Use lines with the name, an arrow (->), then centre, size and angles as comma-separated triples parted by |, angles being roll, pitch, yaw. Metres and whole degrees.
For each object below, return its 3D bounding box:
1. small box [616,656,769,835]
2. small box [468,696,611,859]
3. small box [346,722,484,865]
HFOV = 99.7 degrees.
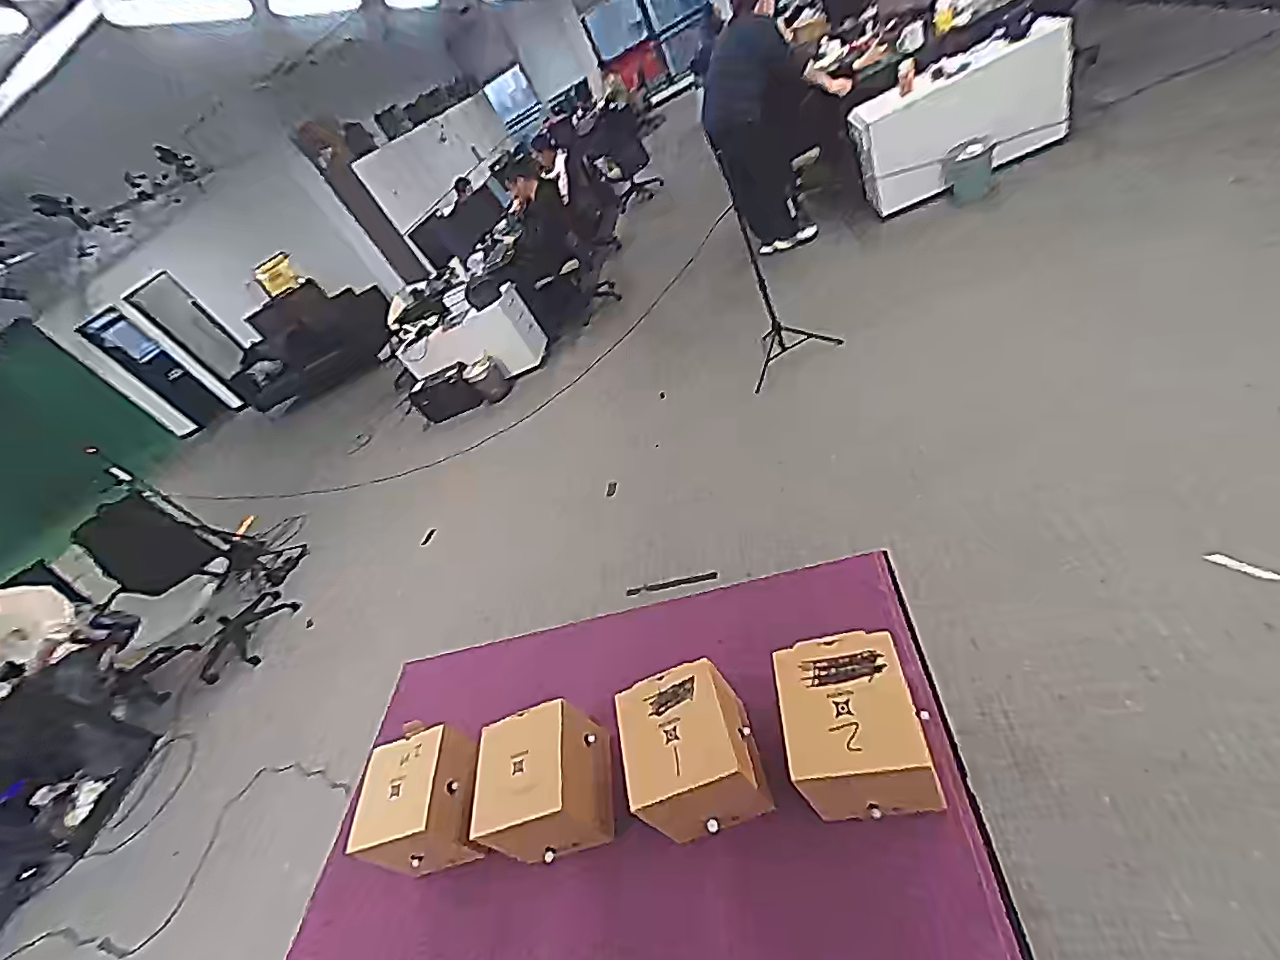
small box -> 0.080, 0.414, 0.841 | 0.168, 0.176, 0.179 | -26, 38, 9
small box -> -0.161, 0.504, 0.916 | 0.168, 0.176, 0.179 | -24, 38, 12
small box -> -0.389, 0.582, 0.993 | 0.168, 0.176, 0.179 | -23, 38, 12
